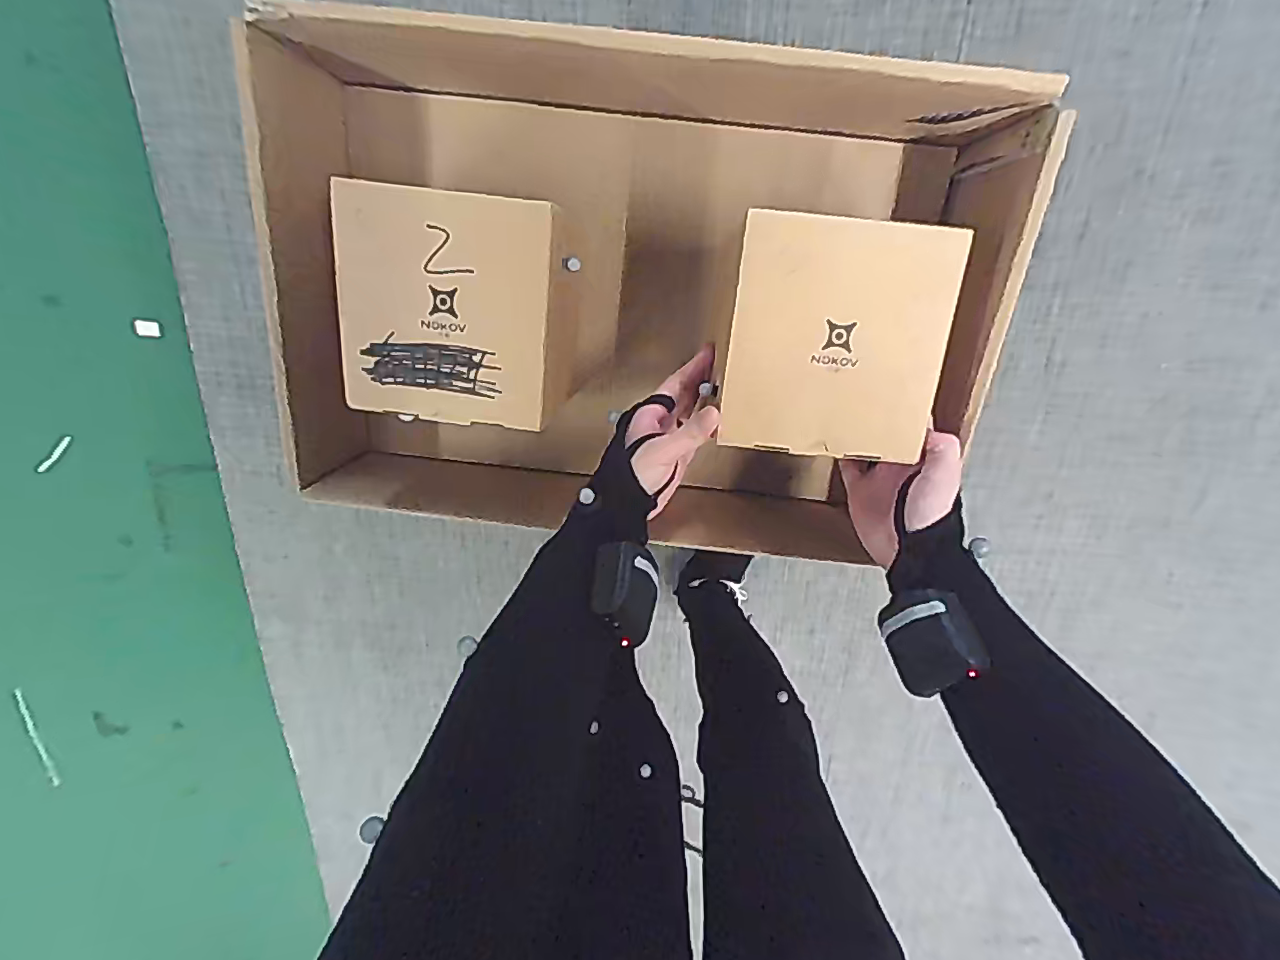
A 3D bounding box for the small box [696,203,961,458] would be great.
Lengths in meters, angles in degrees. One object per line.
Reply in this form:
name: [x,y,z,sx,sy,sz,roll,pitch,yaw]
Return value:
small box: [0.144,-0.129,0.485,0.168,0.176,0.179,5,106,0]
